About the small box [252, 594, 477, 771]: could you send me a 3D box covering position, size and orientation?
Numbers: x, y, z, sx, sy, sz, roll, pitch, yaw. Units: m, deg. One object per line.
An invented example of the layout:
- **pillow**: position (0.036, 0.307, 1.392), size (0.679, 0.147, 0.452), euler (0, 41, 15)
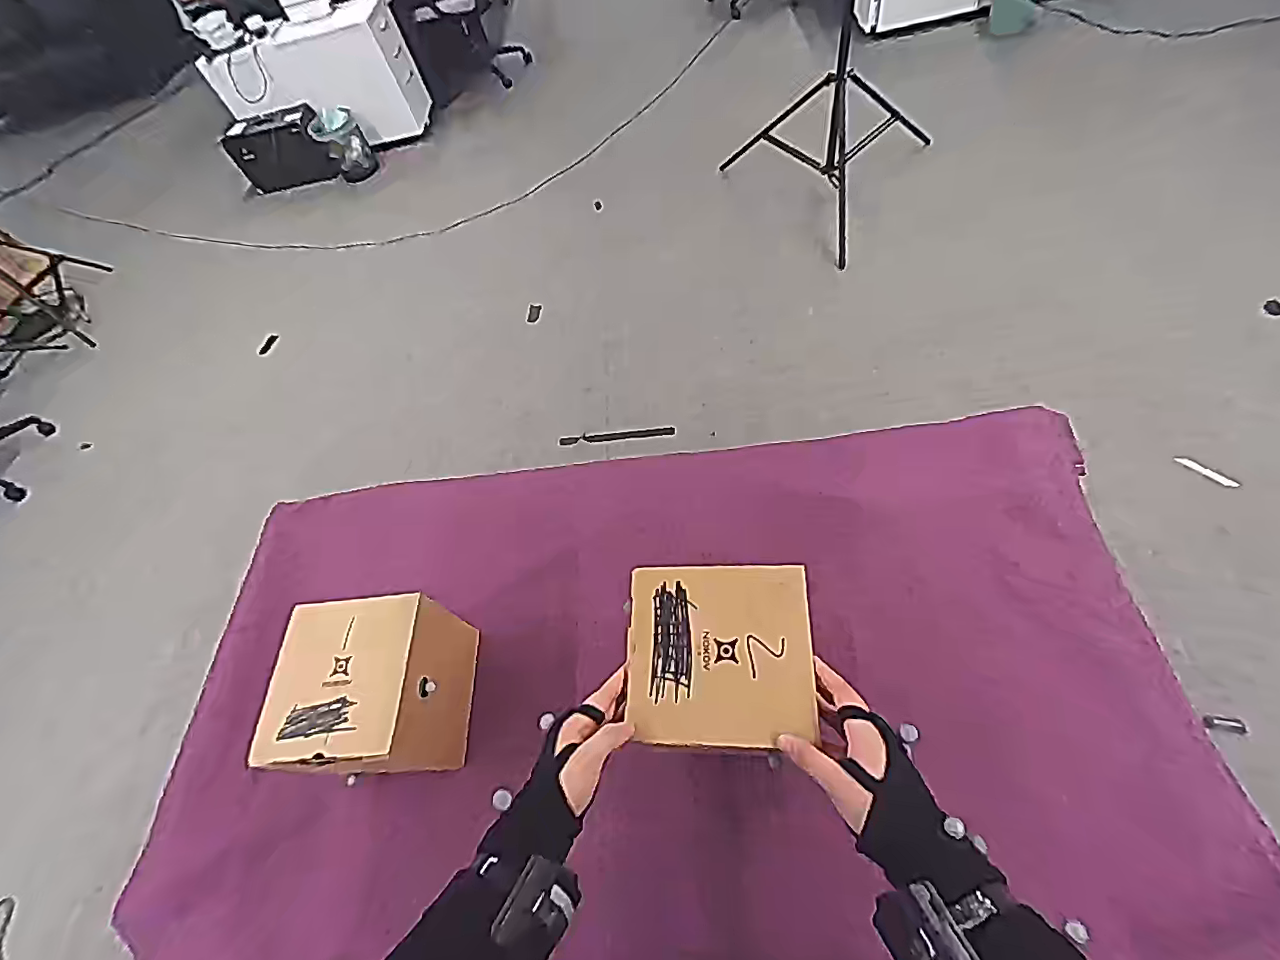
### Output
- **small box**: position (-0.318, 0.257, 0.668), size (0.168, 0.176, 0.179), euler (-7, 57, 7)
